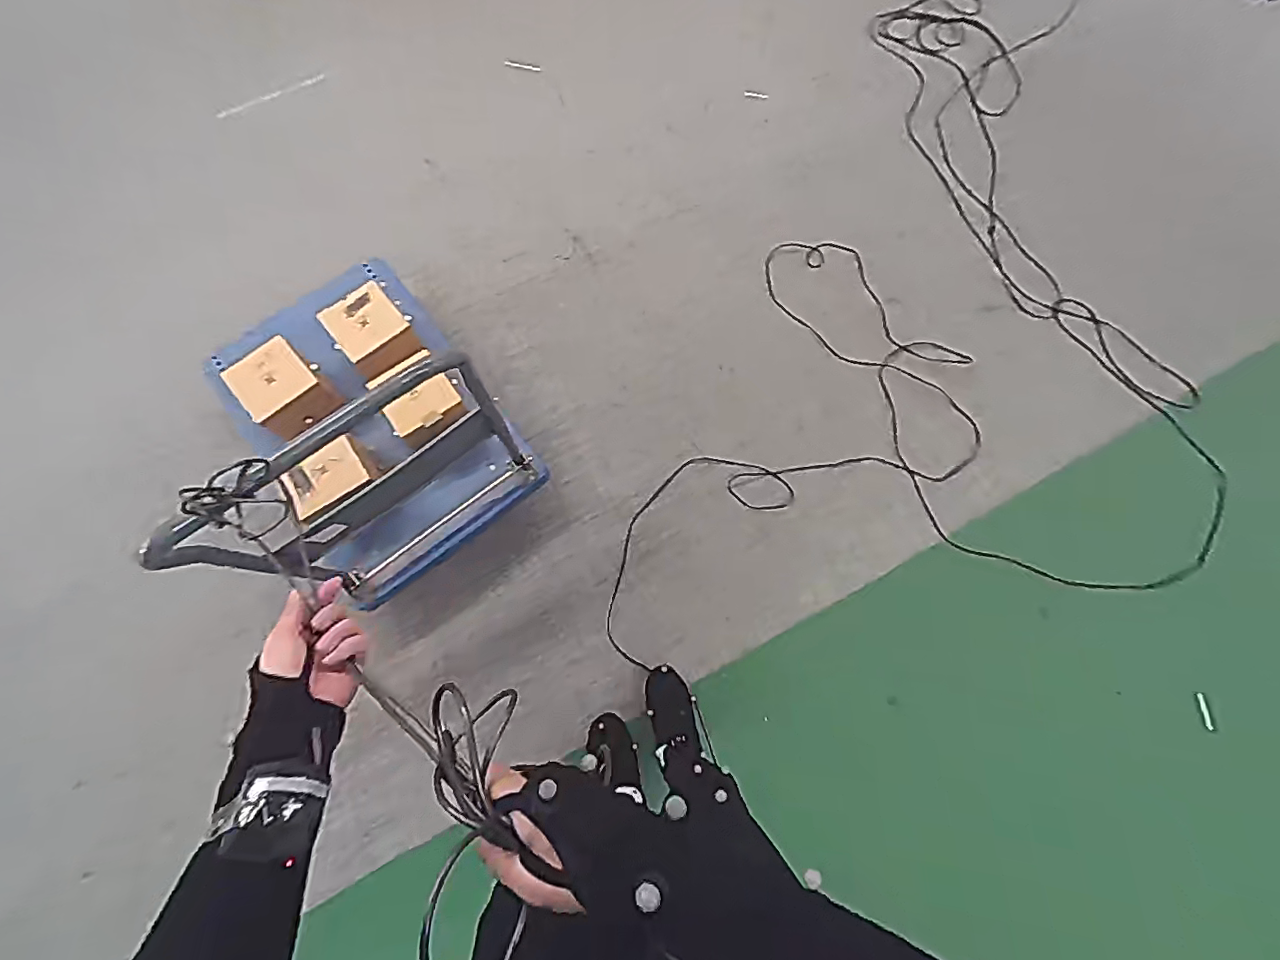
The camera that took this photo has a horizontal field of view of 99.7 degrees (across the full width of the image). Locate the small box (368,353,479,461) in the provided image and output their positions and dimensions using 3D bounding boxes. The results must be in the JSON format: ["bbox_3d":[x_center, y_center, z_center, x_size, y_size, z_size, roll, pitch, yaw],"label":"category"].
[{"bbox_3d":[-0.536,-0.177,1.357,0.168,0.176,0.179,-36,77,-10],"label":"small box"}]

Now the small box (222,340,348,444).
[{"bbox_3d":[-0.885,-0.210,1.368,0.168,0.176,0.179,-41,77,-12],"label":"small box"}]

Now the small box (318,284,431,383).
[{"bbox_3d":[-0.685,-0.364,1.412,0.168,0.176,0.179,-39,78,-10],"label":"small box"}]
